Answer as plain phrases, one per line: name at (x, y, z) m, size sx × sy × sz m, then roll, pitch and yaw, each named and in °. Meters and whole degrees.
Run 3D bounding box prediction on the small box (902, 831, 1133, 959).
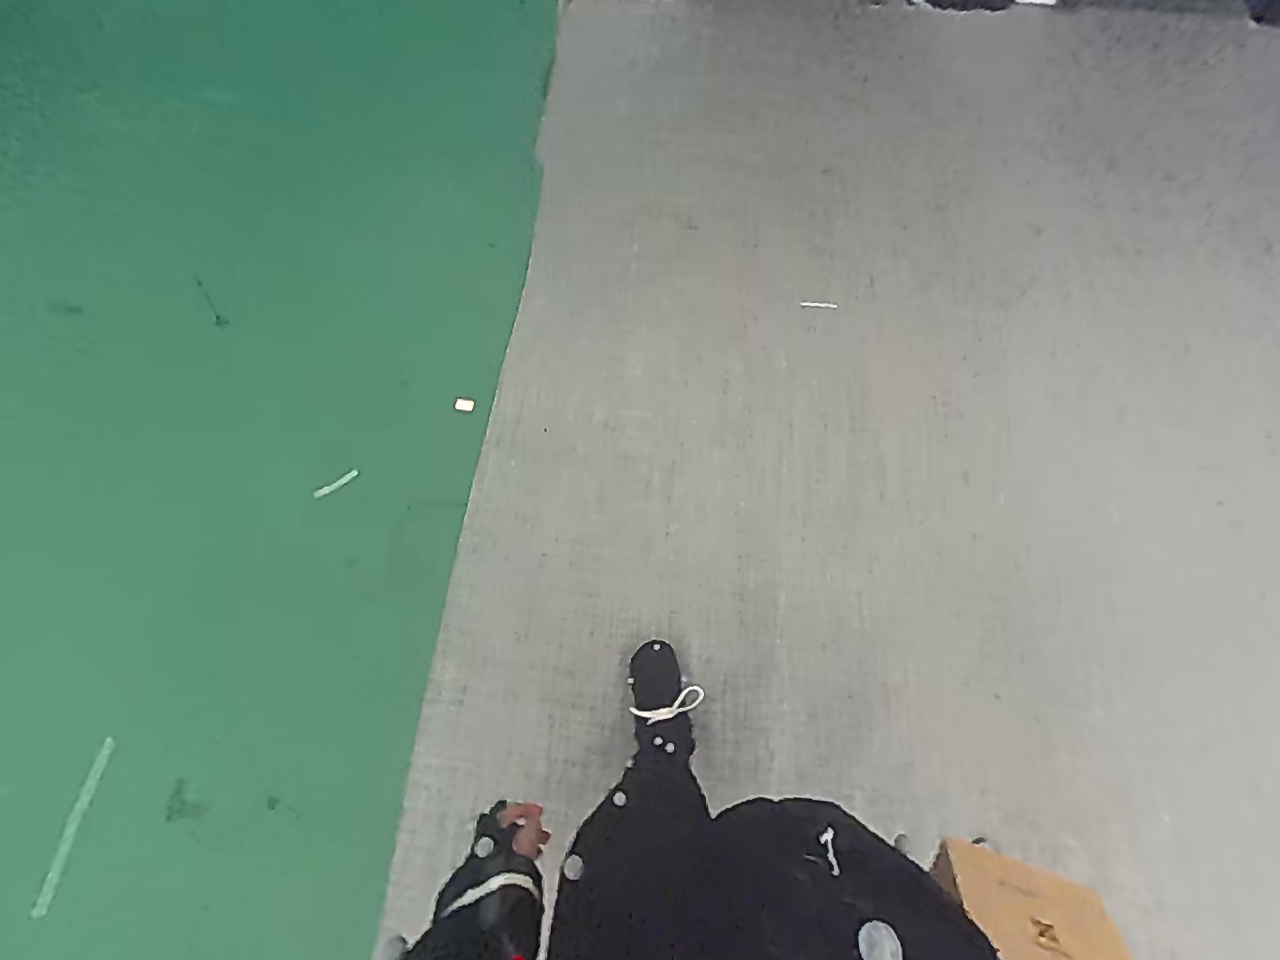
small box at (0.402, 0.540, 0.580) m, size 0.168 × 0.179 × 0.176 m, roll 15°, pitch 107°, yaw 13°
